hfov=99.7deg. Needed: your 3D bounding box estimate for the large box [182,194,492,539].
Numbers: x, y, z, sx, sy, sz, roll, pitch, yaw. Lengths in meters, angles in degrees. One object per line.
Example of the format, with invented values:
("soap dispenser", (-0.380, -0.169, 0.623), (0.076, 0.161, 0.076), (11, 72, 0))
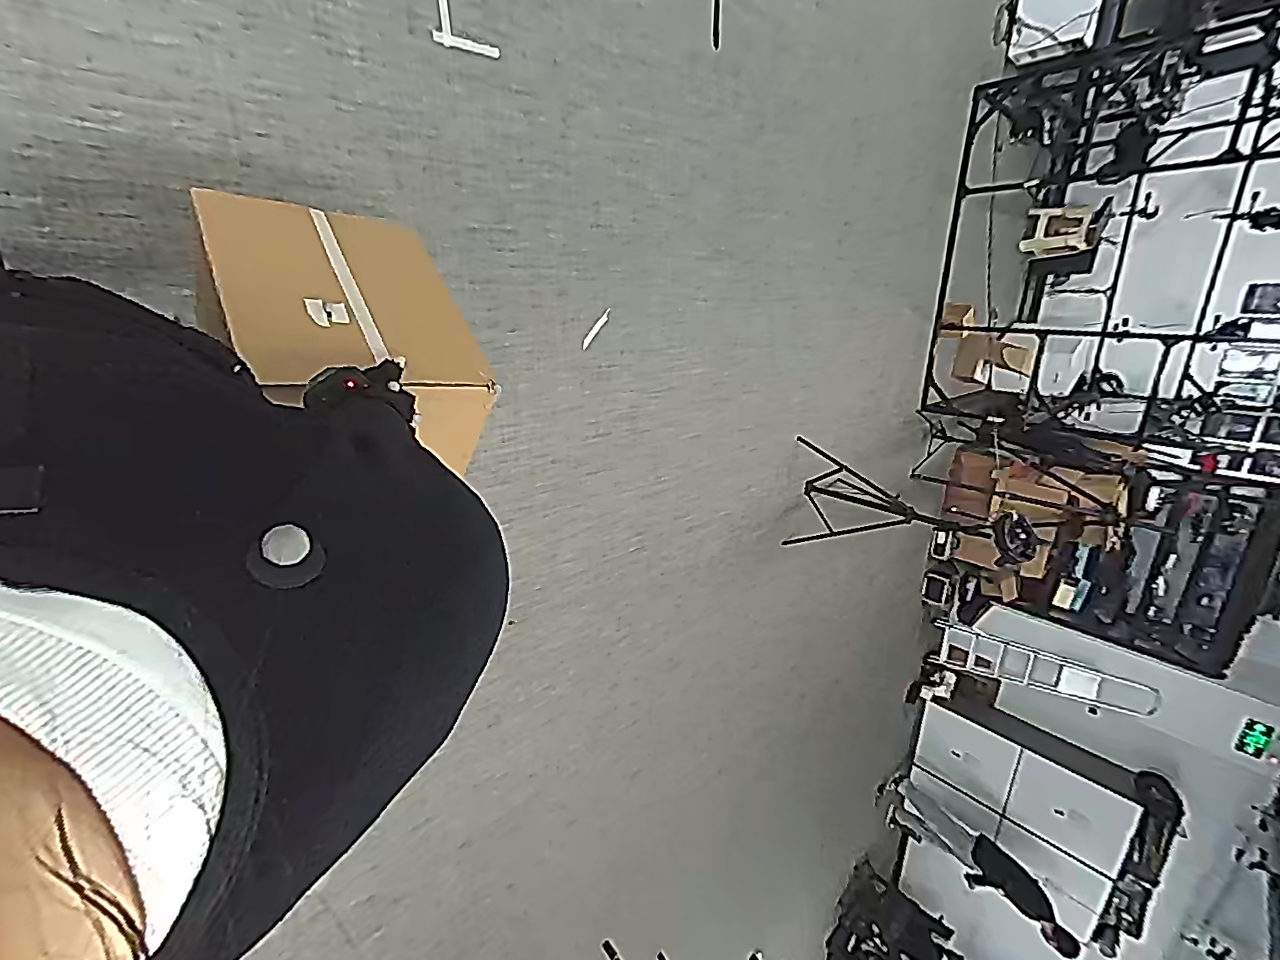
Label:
("large box", (-0.498, -0.173, 0.869), (0.320, 0.408, 0.320), (-10, 148, -41))
